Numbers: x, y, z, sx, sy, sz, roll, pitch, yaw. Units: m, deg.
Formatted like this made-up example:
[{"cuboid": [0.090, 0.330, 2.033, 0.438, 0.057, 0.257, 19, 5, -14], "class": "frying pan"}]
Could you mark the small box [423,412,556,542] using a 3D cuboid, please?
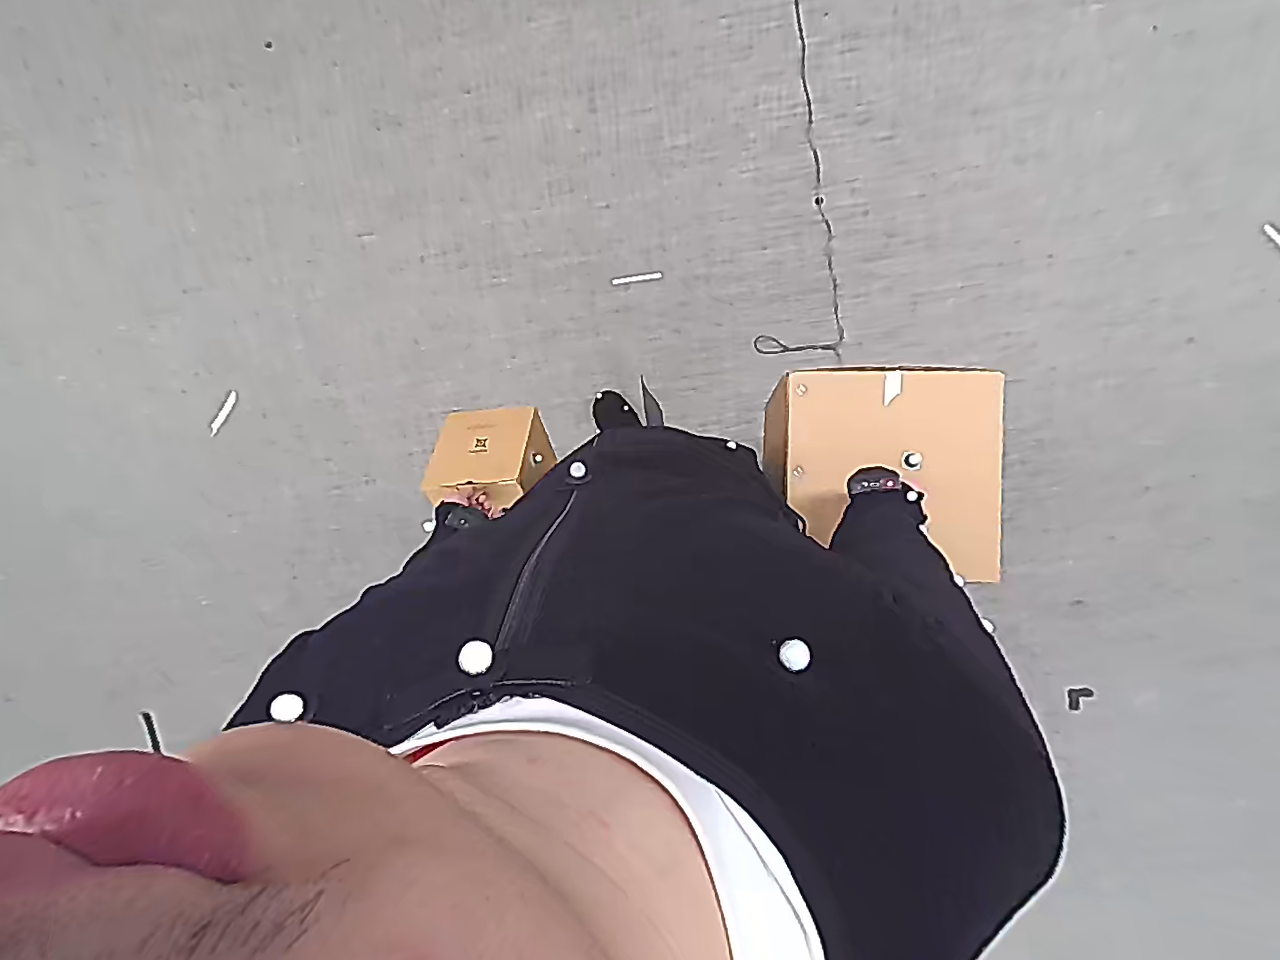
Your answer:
[{"cuboid": [-0.258, 0.001, 0.978, 0.168, 0.179, 0.176, -3, 138, 8], "class": "small box"}]
